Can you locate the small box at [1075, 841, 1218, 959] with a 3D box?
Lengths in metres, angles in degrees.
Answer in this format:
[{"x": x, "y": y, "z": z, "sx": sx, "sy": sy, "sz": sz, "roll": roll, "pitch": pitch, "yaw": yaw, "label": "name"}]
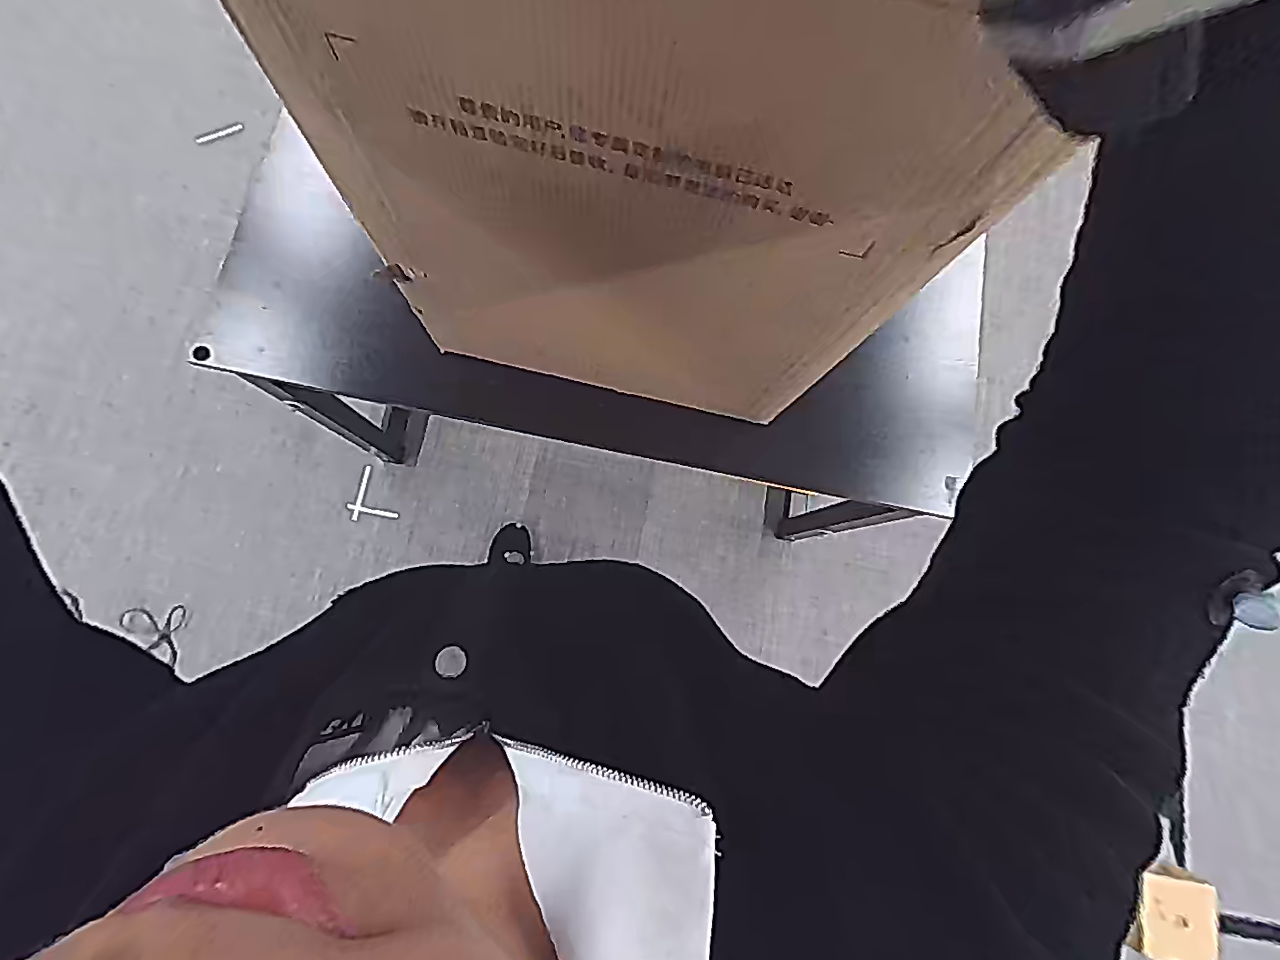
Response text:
[{"x": 1.159, "y": 0.966, "z": 1.244, "sx": 0.179, "sy": 0.176, "sz": 0.168, "roll": 12, "pitch": 79, "yaw": -3, "label": "small box"}]
